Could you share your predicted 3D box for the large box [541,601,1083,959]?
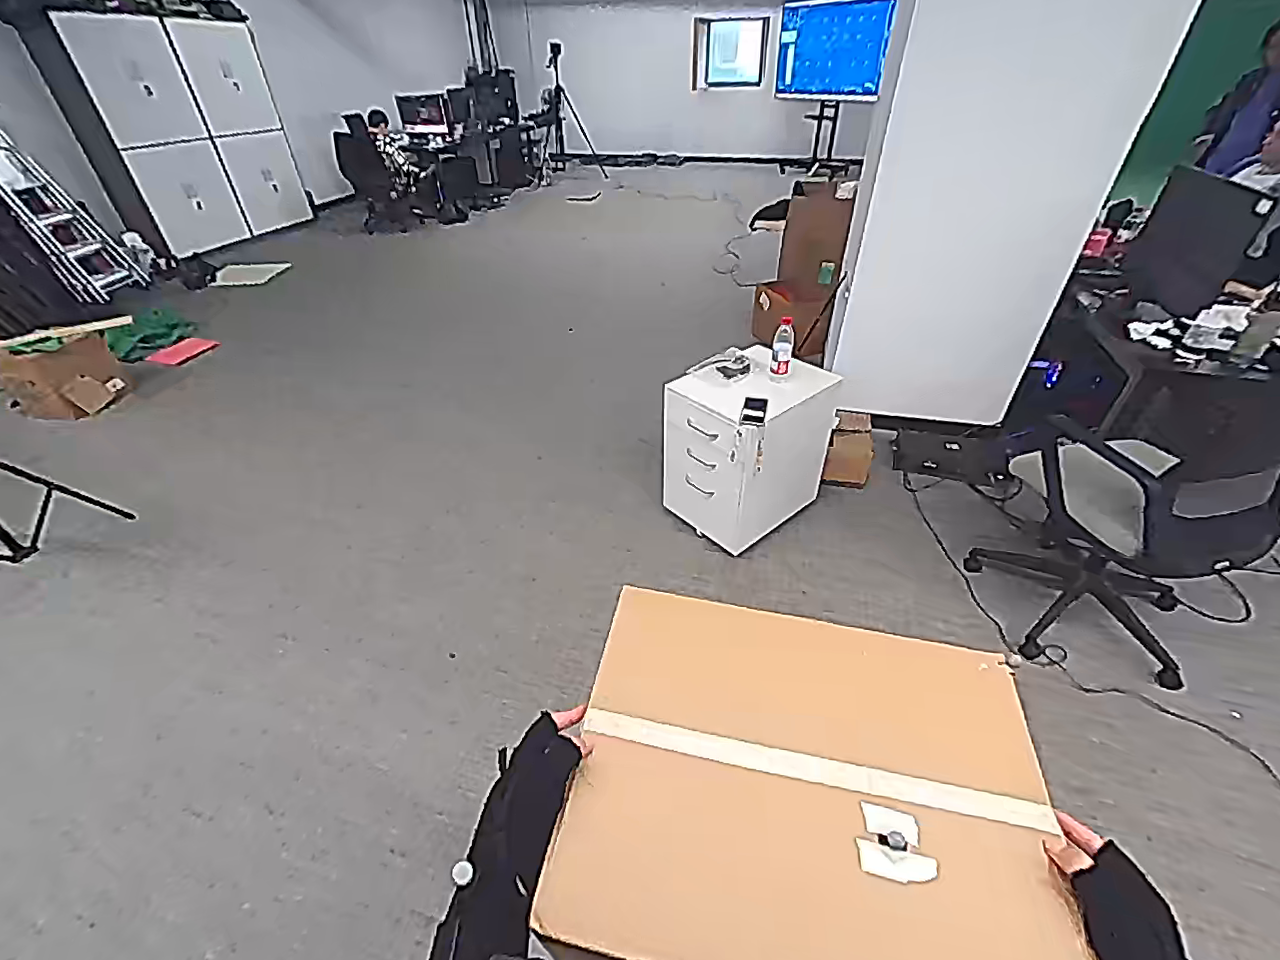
[{"bbox_3d":[0.143,0.374,0.583,0.408,0.320,0.320,9,44,8],"label":"large box"}]
